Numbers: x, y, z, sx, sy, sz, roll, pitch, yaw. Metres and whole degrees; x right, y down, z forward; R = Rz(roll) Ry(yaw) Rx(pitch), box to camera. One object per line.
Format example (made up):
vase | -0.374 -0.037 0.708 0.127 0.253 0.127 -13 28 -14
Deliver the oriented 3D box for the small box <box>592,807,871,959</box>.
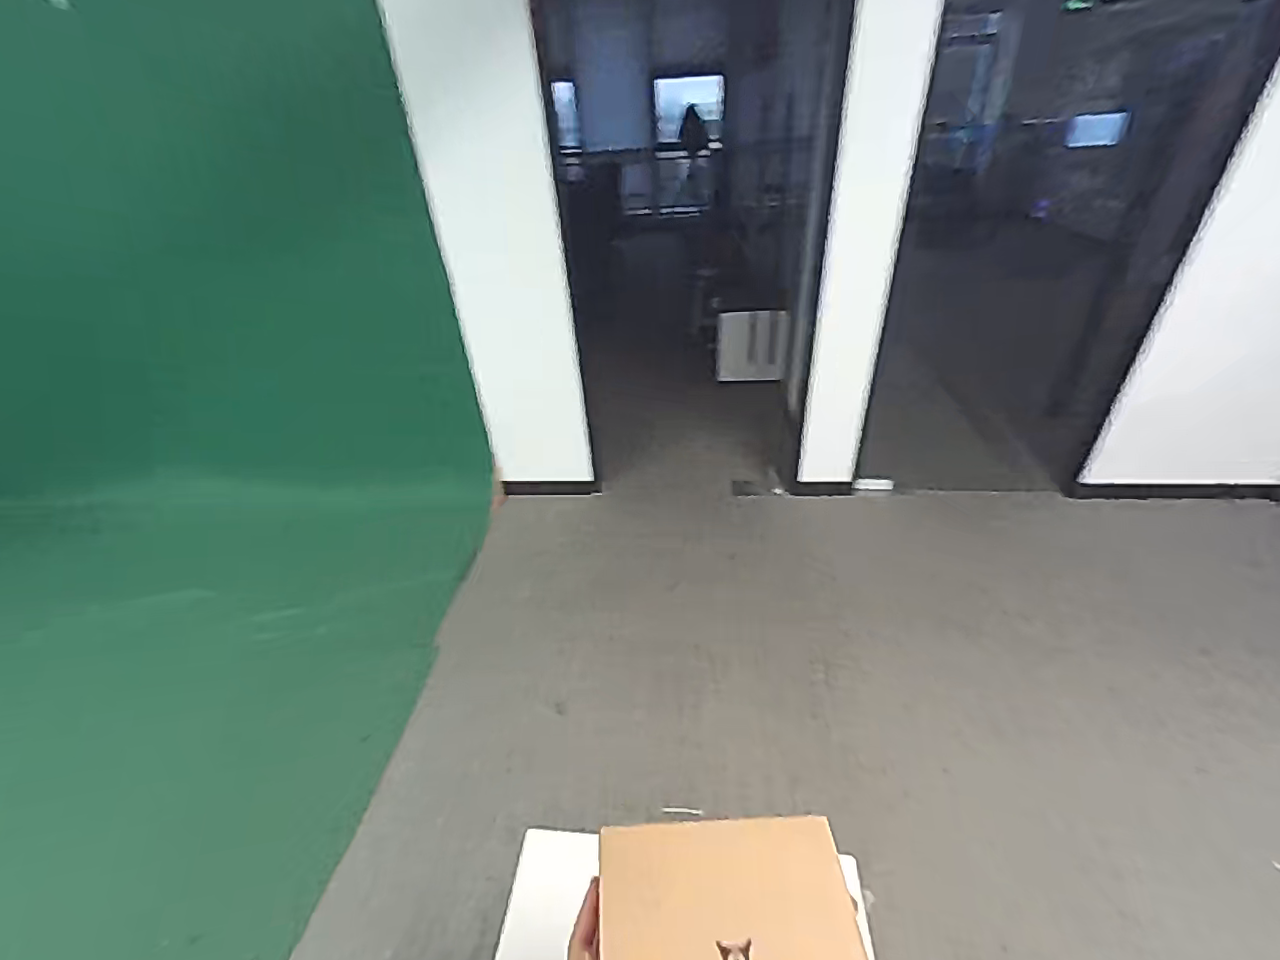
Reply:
small box | 0.053 0.347 0.355 0.168 0.176 0.179 -2 38 -2
